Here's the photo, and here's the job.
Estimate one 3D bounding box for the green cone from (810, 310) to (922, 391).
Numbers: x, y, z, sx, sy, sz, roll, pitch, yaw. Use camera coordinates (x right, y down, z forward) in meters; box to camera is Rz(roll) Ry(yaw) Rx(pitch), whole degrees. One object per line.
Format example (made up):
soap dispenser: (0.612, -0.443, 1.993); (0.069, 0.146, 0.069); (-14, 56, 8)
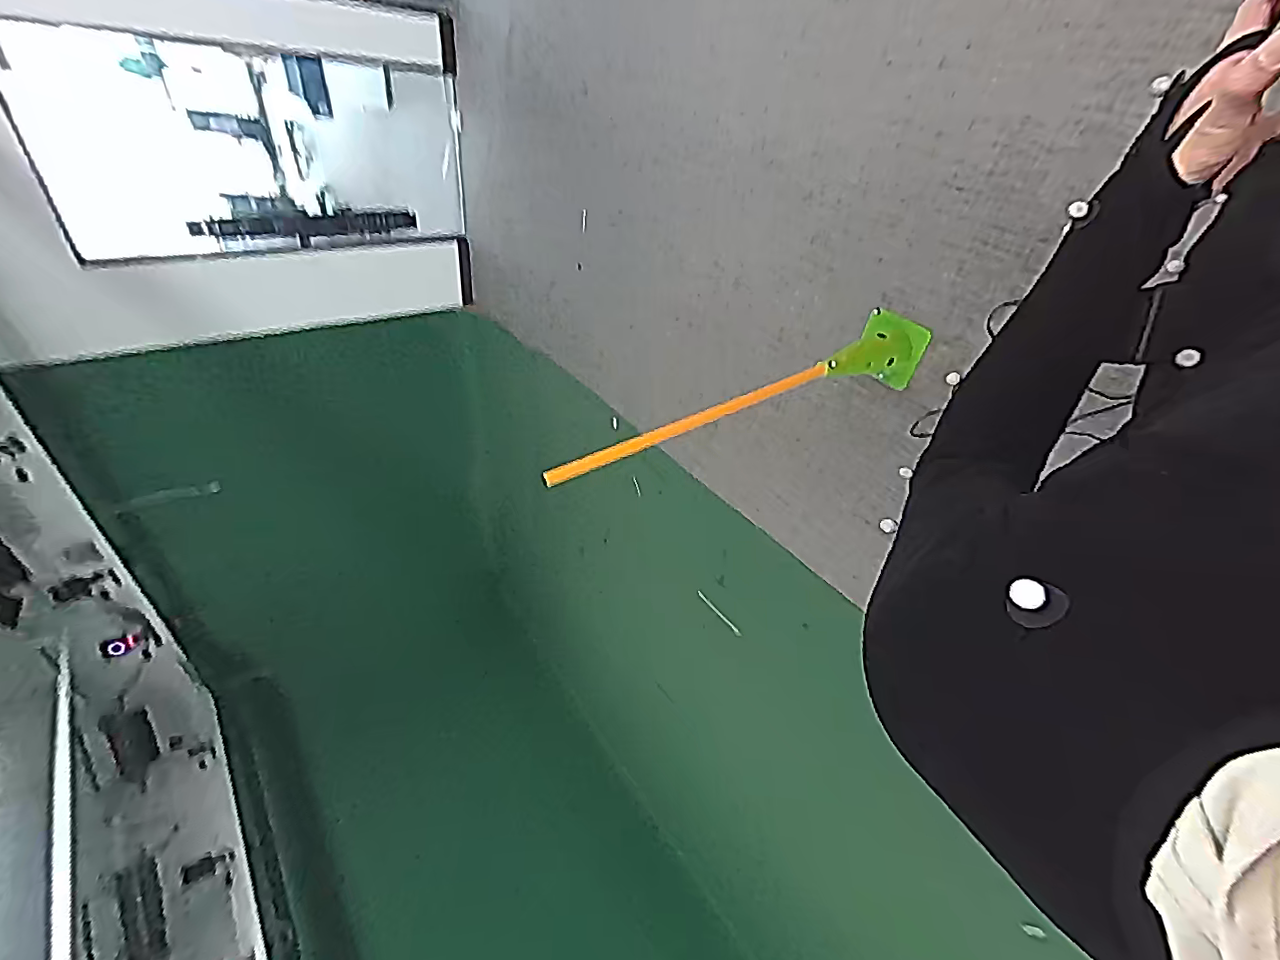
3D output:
green cone: (0.609, -0.342, 1.565); (0.202, 0.368, 0.200); (42, 138, 33)
